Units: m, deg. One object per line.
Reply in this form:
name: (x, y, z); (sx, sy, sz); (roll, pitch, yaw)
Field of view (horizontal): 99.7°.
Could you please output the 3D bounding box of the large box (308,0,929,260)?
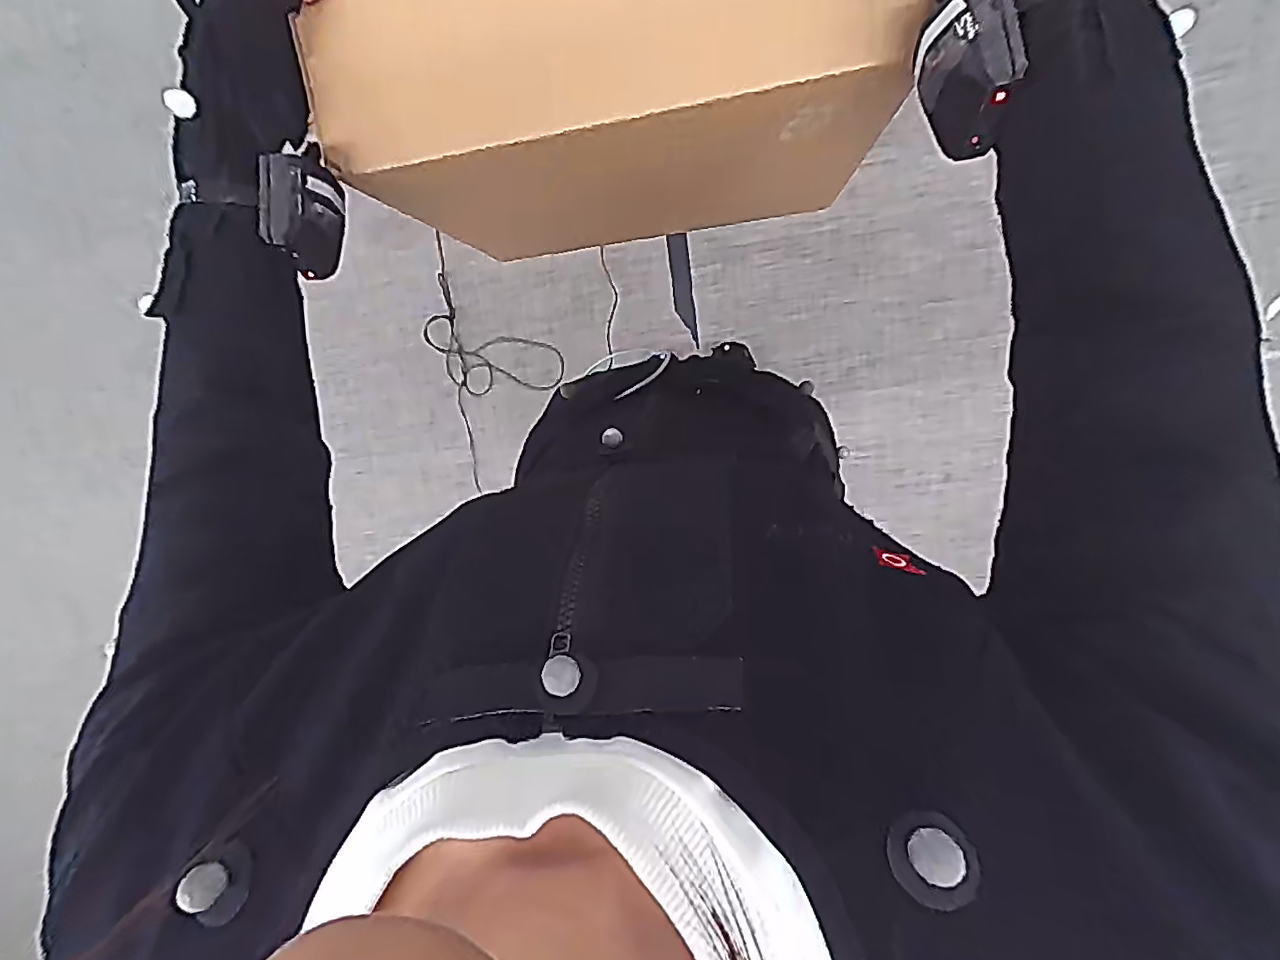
large box: (-0.022, -0.418, 0.481); (0.408, 0.320, 0.320); (-7, 101, 8)
